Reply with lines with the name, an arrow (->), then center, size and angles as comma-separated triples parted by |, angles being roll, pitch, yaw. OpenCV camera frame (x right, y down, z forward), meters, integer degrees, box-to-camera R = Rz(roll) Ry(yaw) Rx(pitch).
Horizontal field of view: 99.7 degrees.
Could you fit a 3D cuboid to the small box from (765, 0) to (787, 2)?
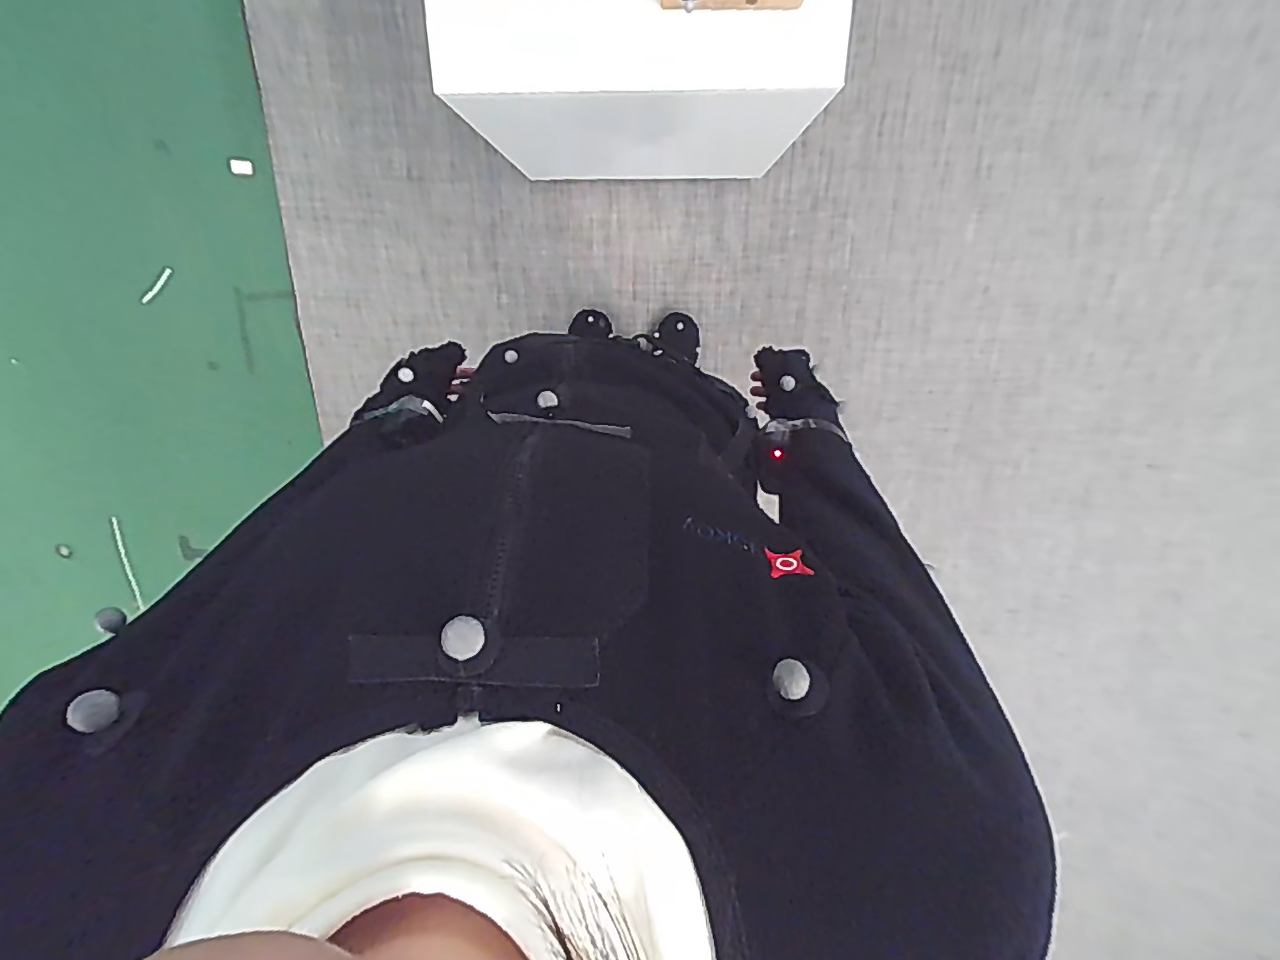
small box -> 0.104, -0.617, 0.535 | 0.168, 0.176, 0.179 | 2, 108, 2
